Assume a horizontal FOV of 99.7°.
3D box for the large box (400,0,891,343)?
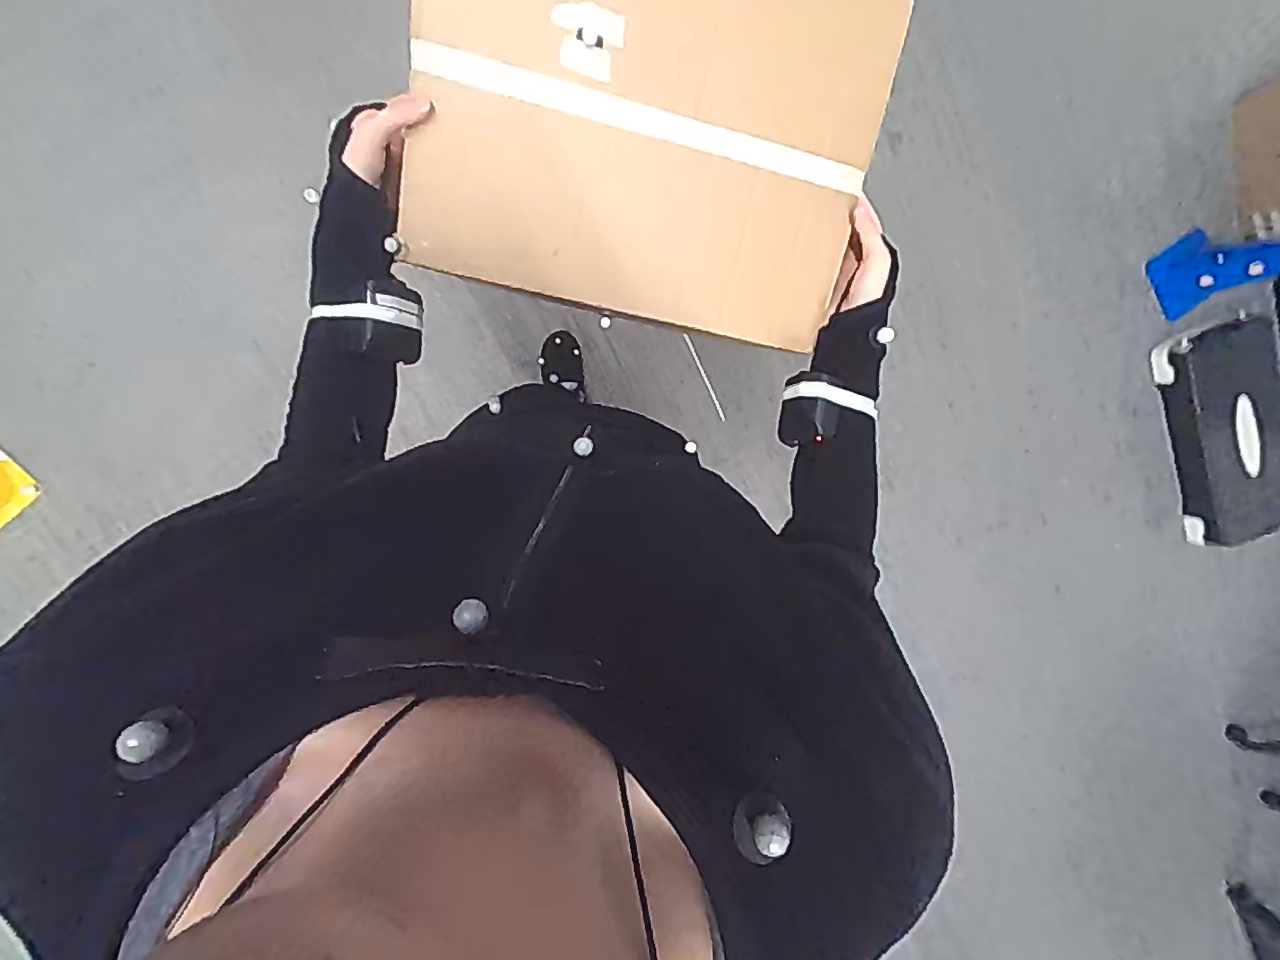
[{"bbox_3d":[-0.013,-0.355,0.625,0.408,0.320,0.320,9,105,-10],"label":"large box"}]
